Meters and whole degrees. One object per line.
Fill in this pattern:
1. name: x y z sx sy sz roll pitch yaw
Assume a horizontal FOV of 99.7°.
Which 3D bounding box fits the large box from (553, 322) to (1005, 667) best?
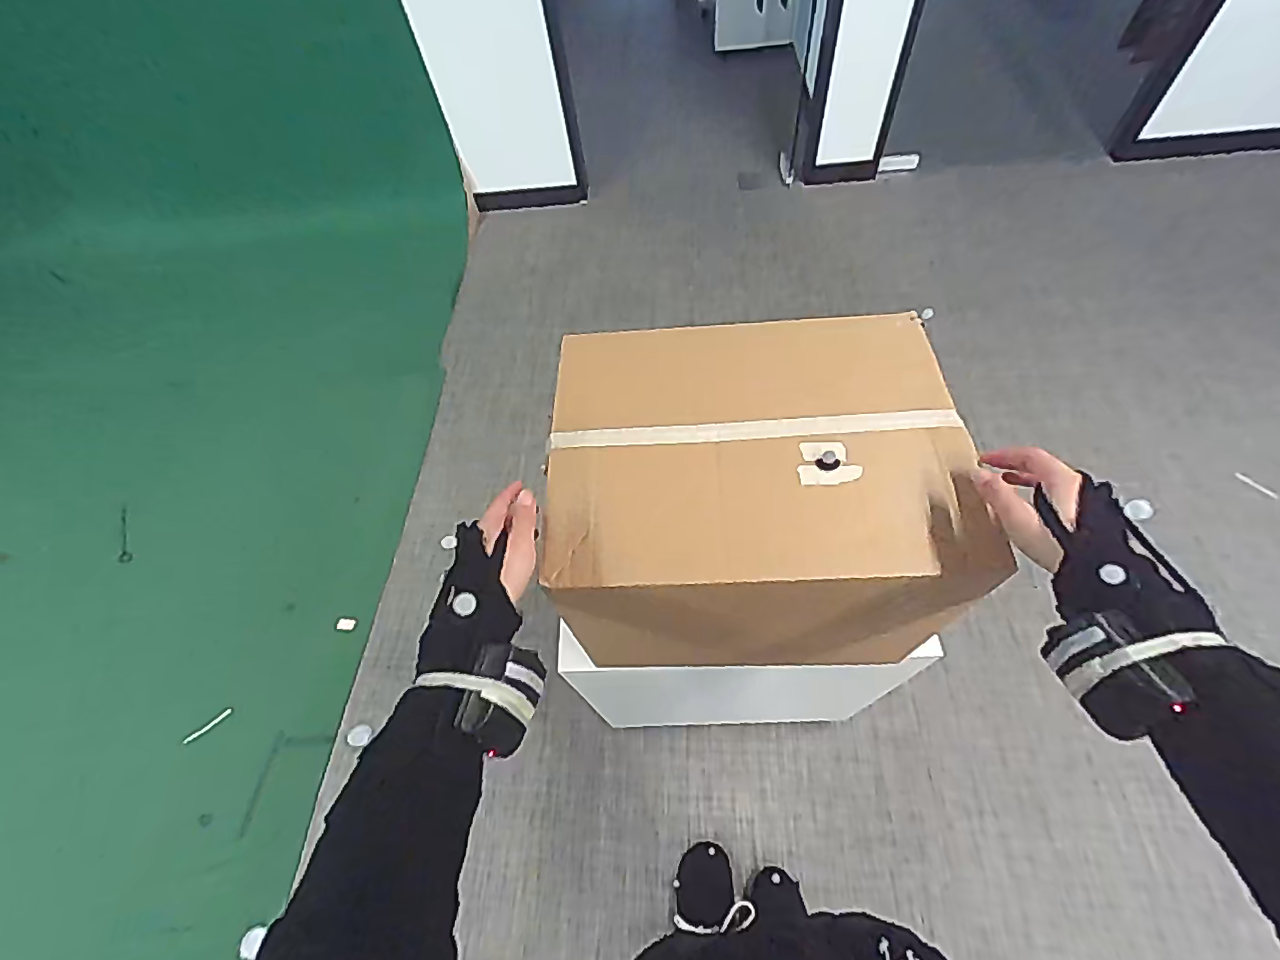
1. large box: 0.125 0.036 0.676 0.408 0.320 0.320 -2 58 3
